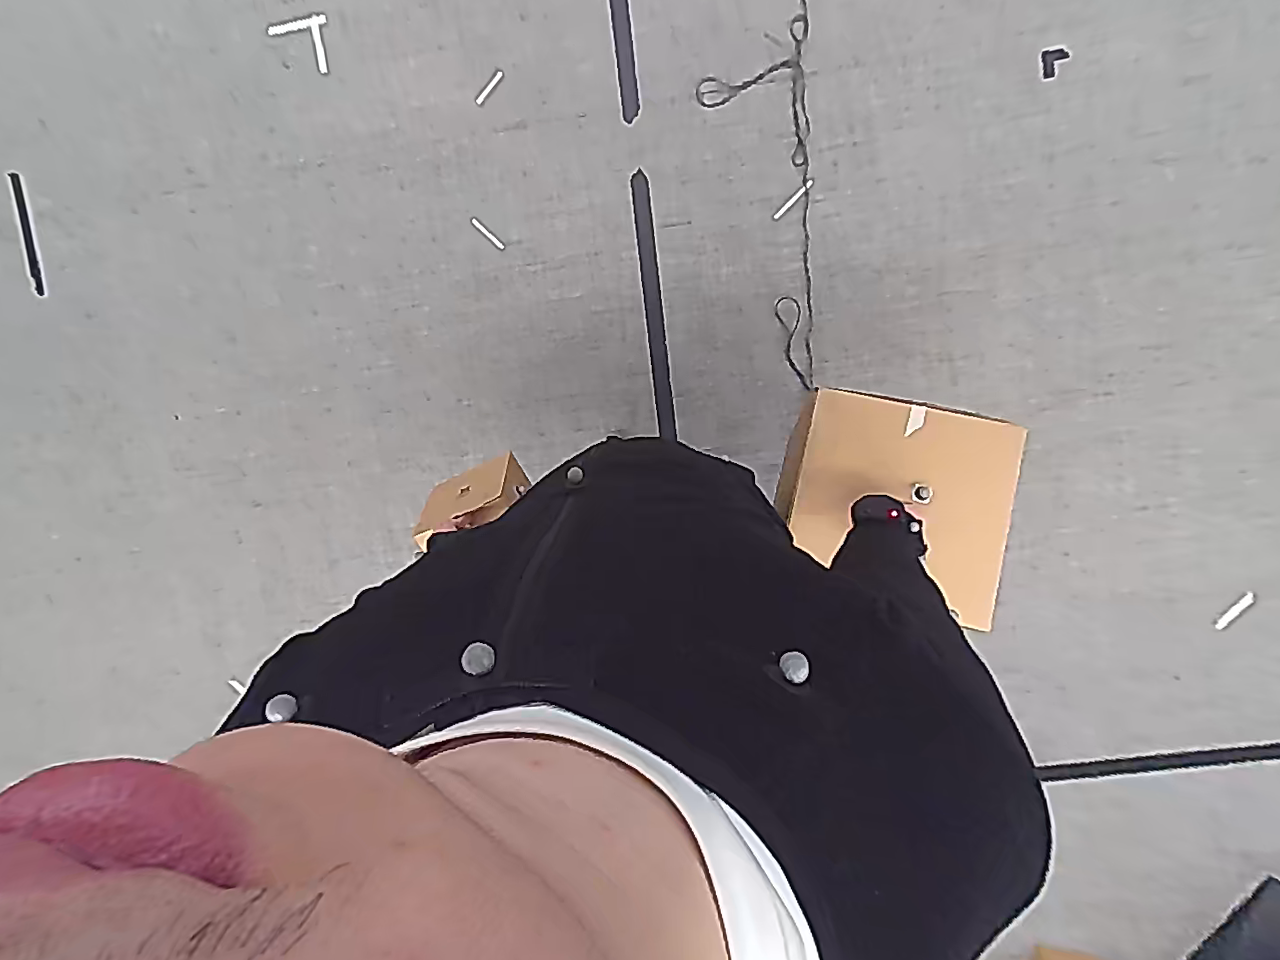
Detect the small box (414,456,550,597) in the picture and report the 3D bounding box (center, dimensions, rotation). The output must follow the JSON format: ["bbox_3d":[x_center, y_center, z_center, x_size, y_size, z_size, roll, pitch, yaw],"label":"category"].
[{"bbox_3d":[-0.275,0.090,0.988,0.168,0.179,0.176,-23,118,5],"label":"small box"}]
